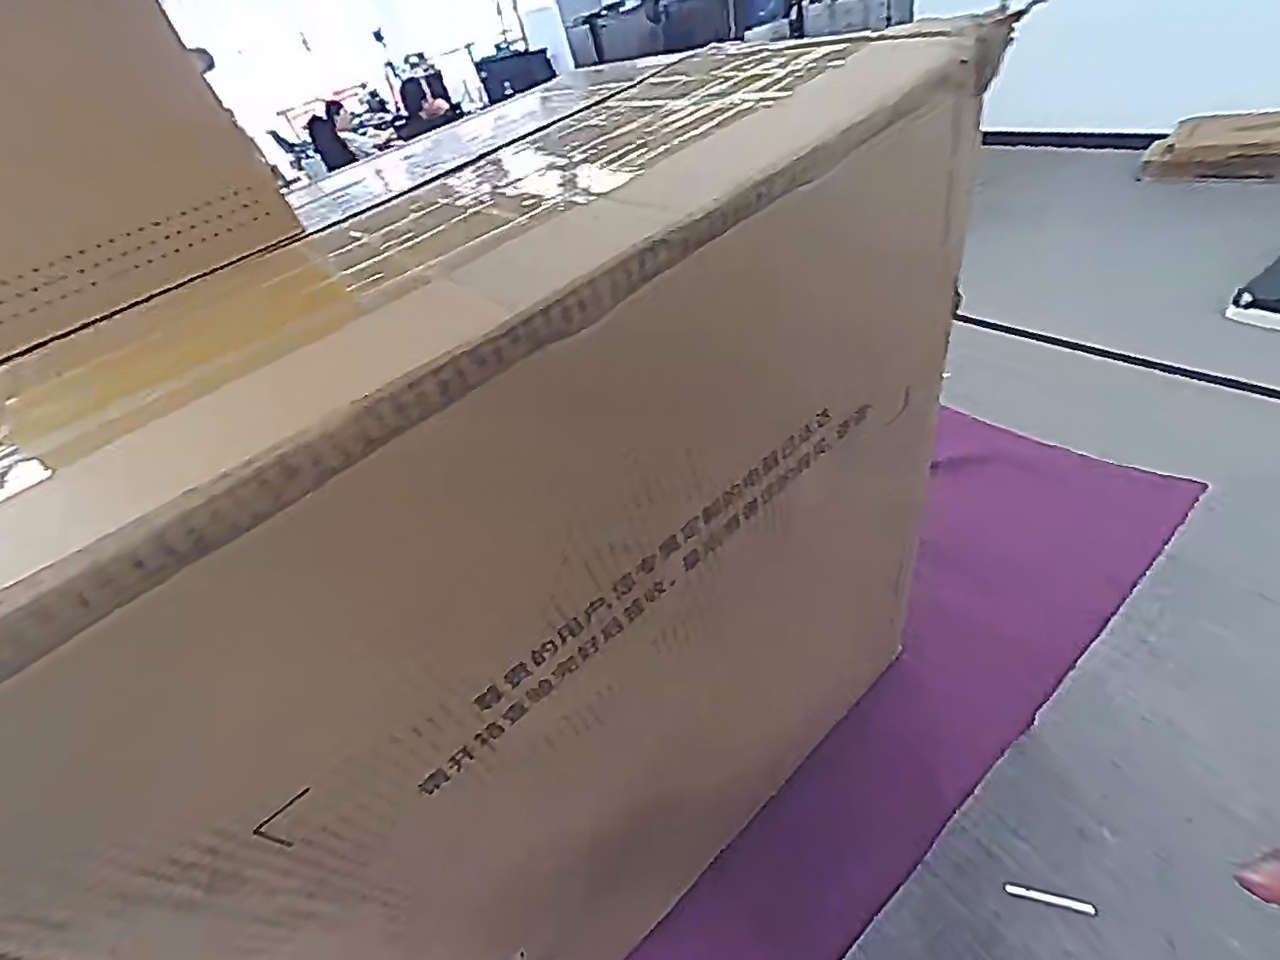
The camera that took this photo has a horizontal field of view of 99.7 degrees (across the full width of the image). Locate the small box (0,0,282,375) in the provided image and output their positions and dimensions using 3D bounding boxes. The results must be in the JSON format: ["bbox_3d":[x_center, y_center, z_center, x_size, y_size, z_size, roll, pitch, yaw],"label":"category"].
[{"bbox_3d":[-0.312,-0.174,0.266,0.179,0.176,0.168,-37,44,-20],"label":"small box"}]
